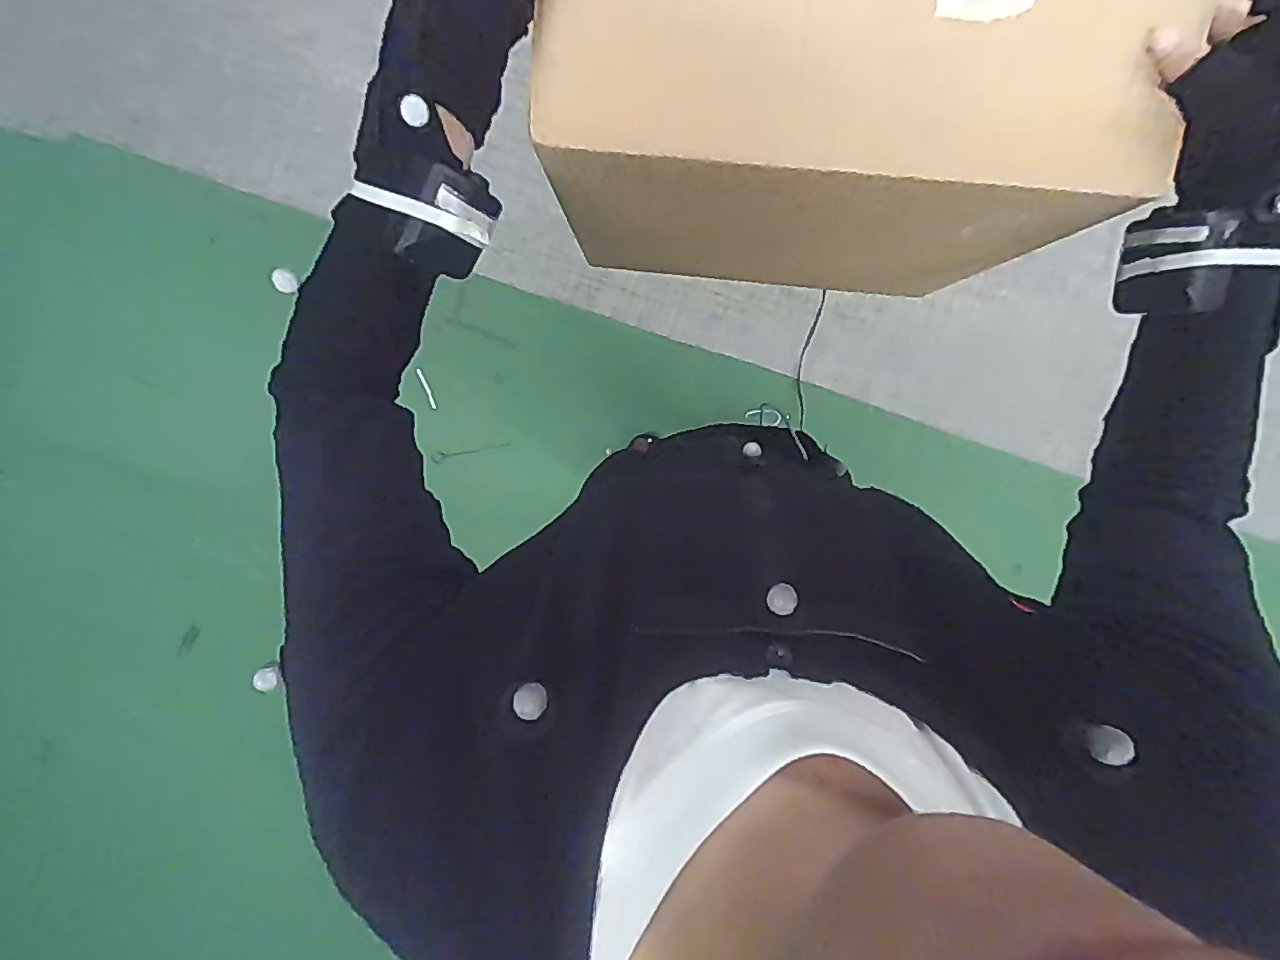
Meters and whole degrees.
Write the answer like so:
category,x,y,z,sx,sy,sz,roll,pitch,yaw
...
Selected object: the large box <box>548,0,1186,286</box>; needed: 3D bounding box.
category,x,y,z,sx,sy,sz,roll,pitch,yaw
large box,0.146,-0.376,0.481,0.408,0.320,0.320,5,98,0
